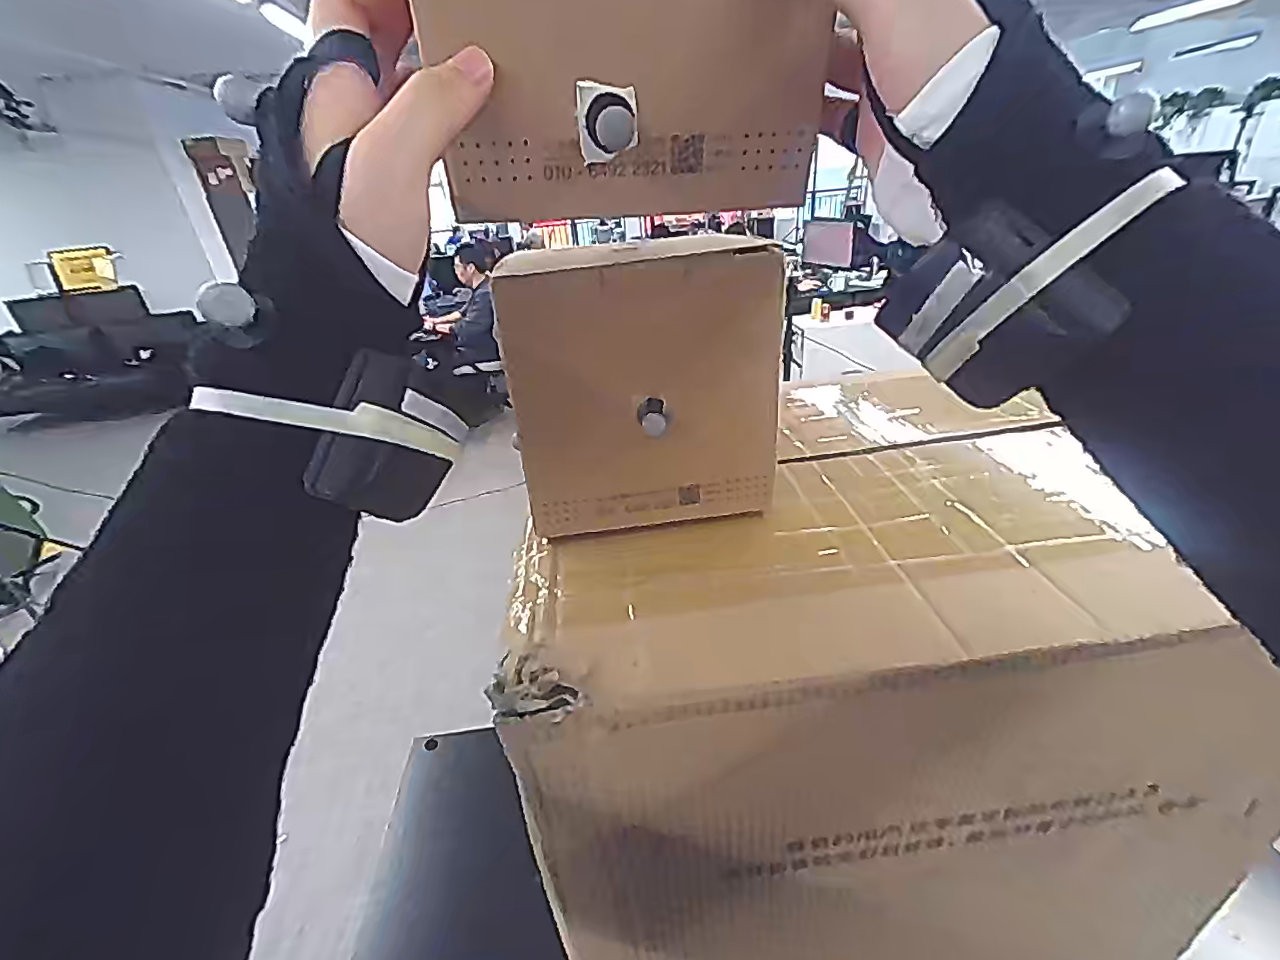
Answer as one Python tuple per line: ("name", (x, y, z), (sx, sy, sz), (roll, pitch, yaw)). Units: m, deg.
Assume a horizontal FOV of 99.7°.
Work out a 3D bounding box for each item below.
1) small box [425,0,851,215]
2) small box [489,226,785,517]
("small box", (-0.013, -0.237, 0.256), (0.168, 0.176, 0.179), (-9, 41, -8))
("small box", (-0.002, -0.083, 0.397), (0.168, 0.176, 0.179), (-7, 27, -4))
